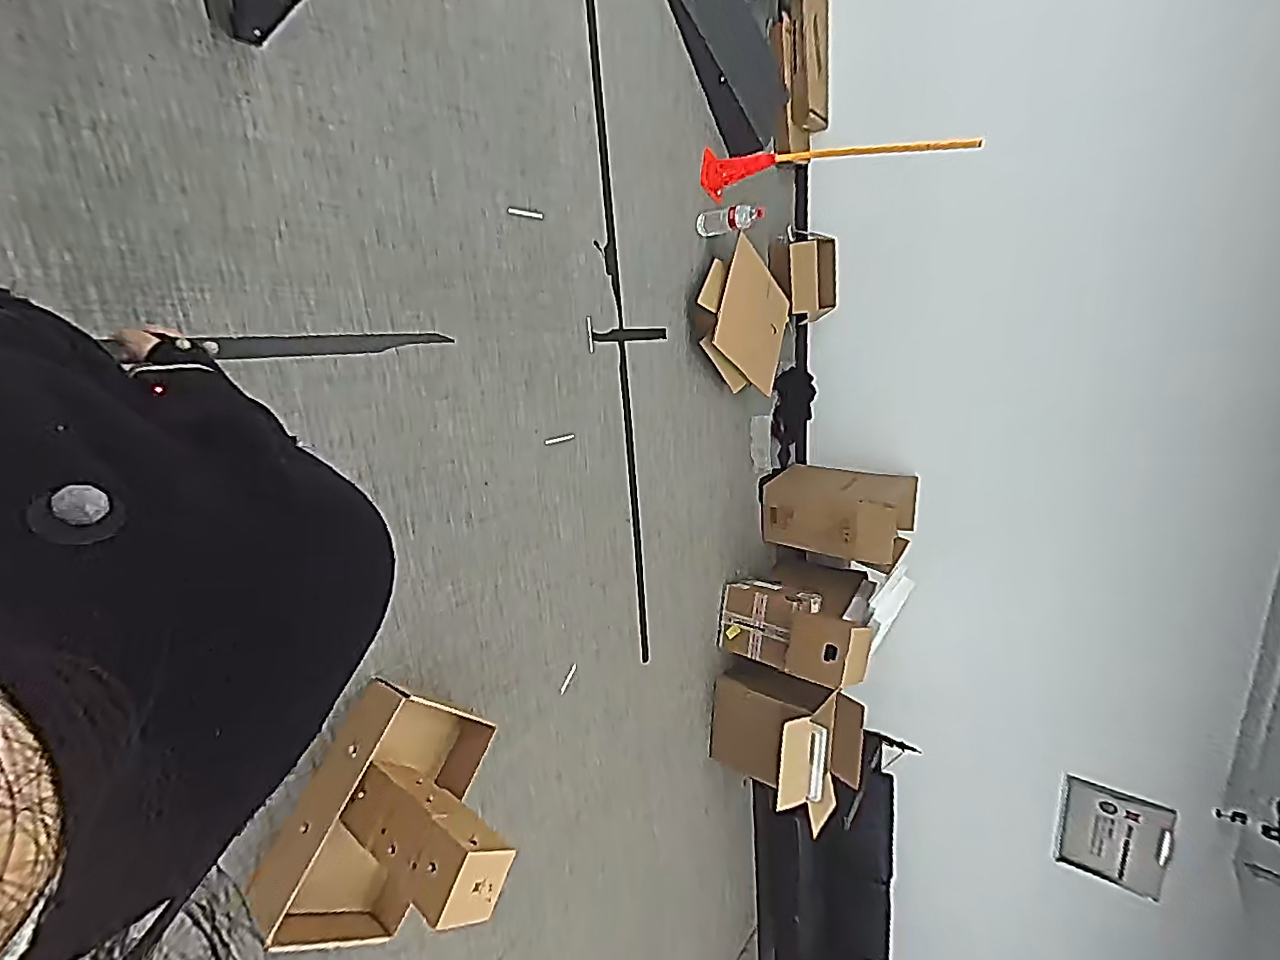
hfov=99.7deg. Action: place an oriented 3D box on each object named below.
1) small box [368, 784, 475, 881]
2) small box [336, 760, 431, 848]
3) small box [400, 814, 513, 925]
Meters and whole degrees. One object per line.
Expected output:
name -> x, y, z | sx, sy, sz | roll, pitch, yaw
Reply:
small box -> -0.593, 0.947, 1.463 | 0.179, 0.176, 0.168 | 44, 63, -48
small box -> -0.724, 0.933, 1.557 | 0.179, 0.176, 0.168 | 48, 59, -45
small box -> -0.465, 0.969, 1.361 | 0.179, 0.176, 0.168 | 43, 65, -47
